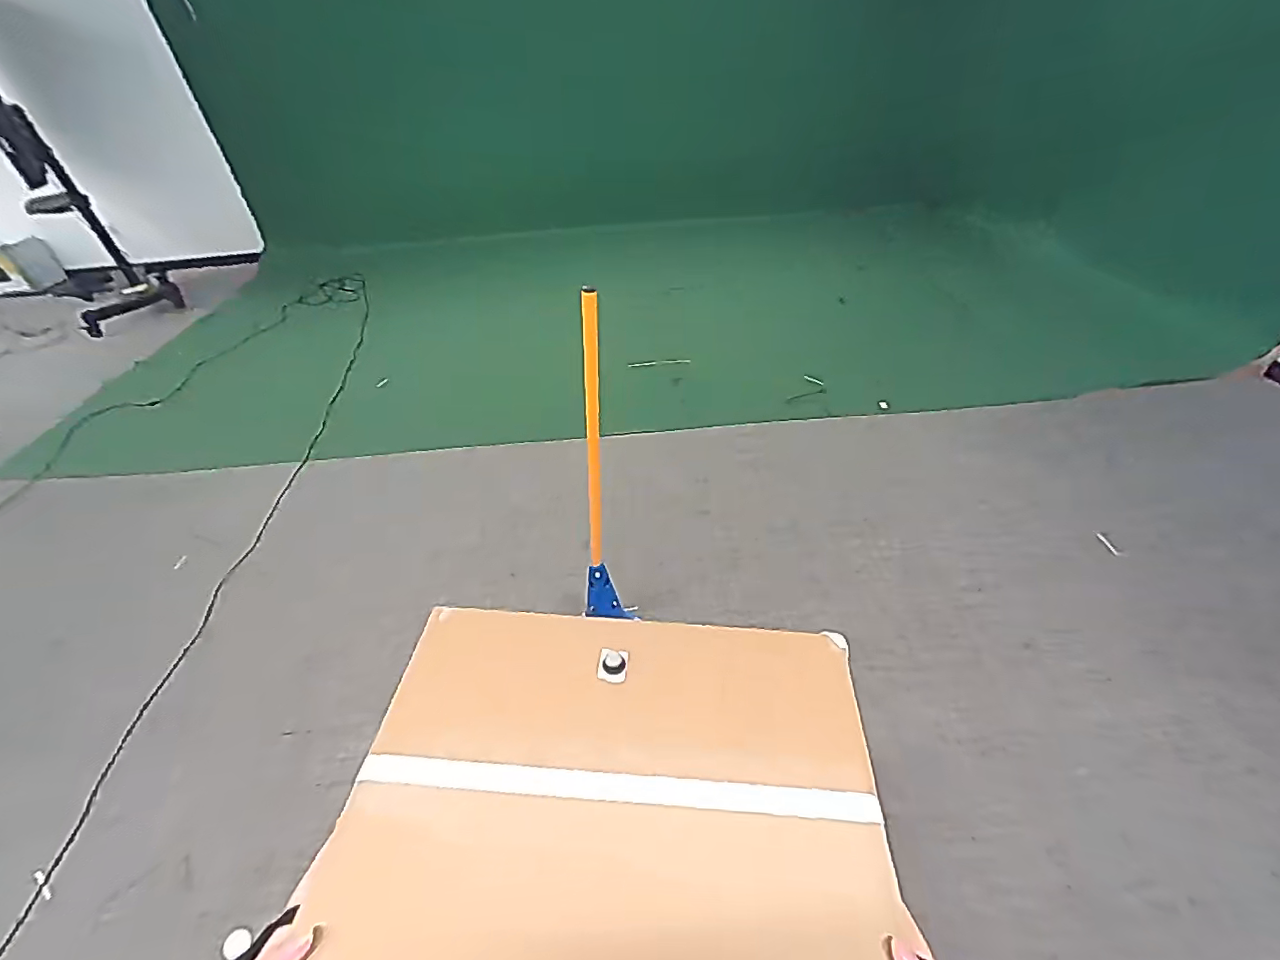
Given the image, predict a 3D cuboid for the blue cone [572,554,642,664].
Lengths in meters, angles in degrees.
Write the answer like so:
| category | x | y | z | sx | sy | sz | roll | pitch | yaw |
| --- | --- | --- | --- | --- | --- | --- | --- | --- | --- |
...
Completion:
| category | x | y | z | sx | sy | sz | roll | pitch | yaw |
| --- | --- | --- | --- | --- | --- | --- | --- | --- | --- |
| blue cone | -0.112 | 0.360 | 1.631 | 0.192 | 0.380 | 0.193 | 19 | 45 | 24 |
